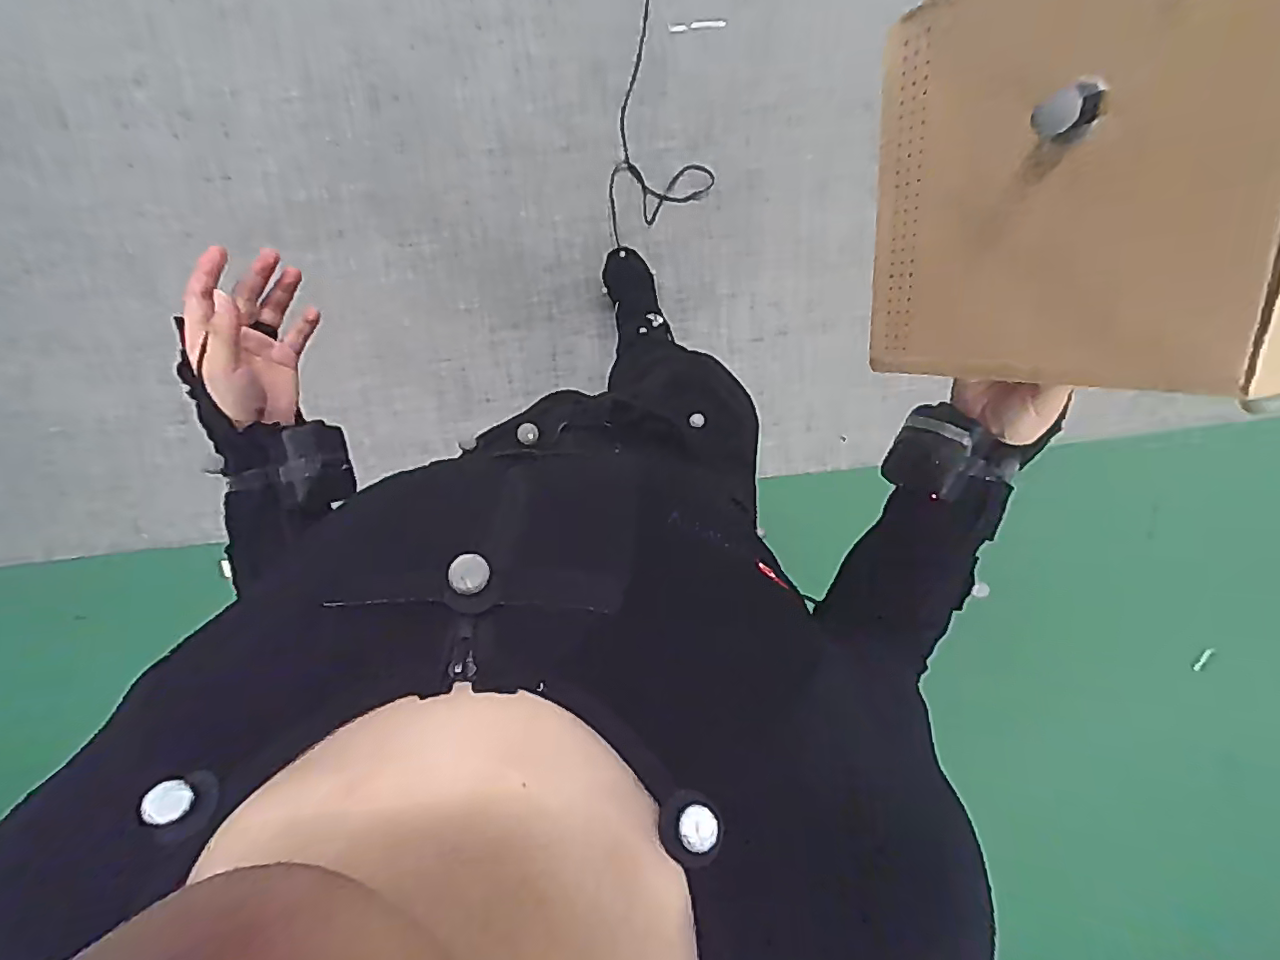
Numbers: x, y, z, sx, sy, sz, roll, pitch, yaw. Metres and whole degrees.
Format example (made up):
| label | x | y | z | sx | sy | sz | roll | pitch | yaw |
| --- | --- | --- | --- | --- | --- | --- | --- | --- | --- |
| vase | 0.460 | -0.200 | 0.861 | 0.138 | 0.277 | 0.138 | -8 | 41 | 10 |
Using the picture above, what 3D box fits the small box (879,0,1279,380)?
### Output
| label | x | y | z | sx | sy | sz | roll | pitch | yaw |
| --- | --- | --- | --- | --- | --- | --- | --- | --- | --- |
| small box | 0.239 | -0.145 | 0.258 | 0.168 | 0.176 | 0.179 | -10 | 106 | -17 |
